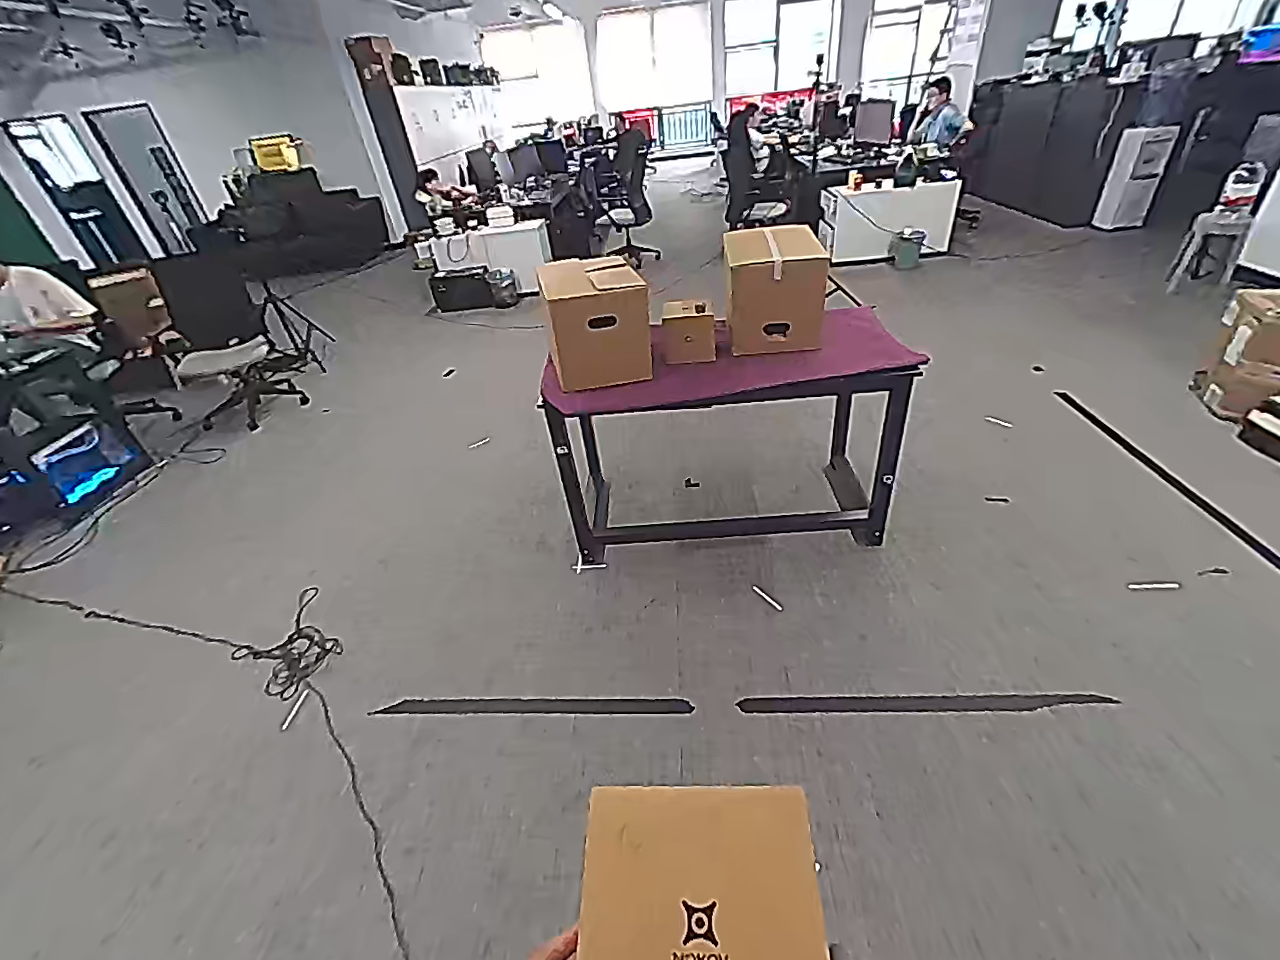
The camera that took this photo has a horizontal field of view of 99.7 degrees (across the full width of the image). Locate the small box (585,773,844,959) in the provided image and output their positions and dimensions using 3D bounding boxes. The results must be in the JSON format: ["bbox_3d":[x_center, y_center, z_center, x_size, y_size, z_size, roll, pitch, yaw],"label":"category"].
[{"bbox_3d":[0.055,0.345,0.411,0.168,0.176,0.179,-3,46,7],"label":"small box"}]
